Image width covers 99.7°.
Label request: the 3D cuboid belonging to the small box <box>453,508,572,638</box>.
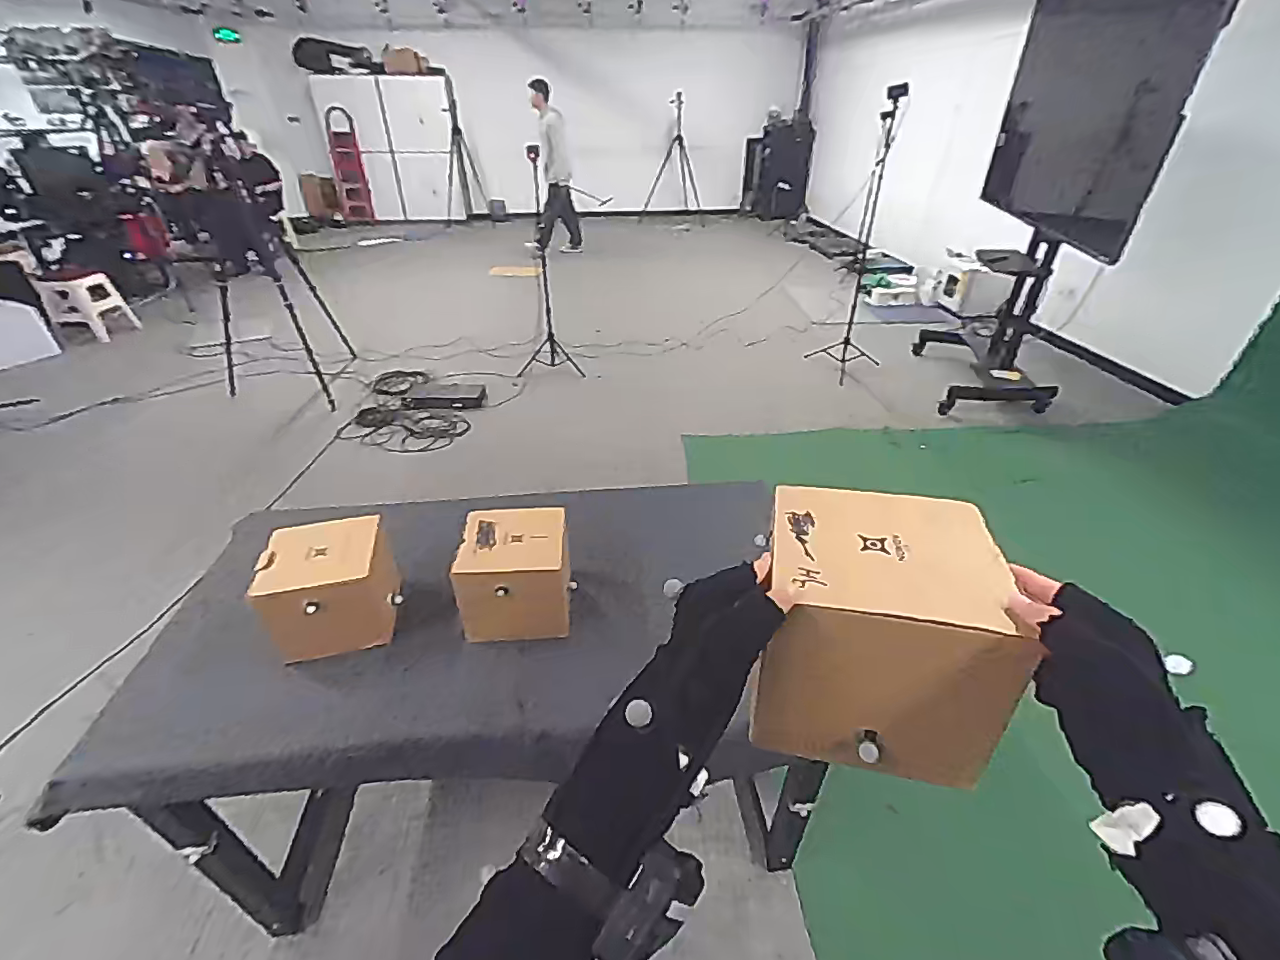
[{"bbox_3d":[-0.218,0.168,0.974,0.179,0.176,0.168,-2,35,-4],"label":"small box"}]

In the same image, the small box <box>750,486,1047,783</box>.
[{"bbox_3d":[0.198,0.127,0.470,0.179,0.176,0.168,7,30,12],"label":"small box"}]

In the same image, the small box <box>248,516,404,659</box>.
[{"bbox_3d":[-0.533,0.188,0.947,0.179,0.176,0.168,-8,36,-12],"label":"small box"}]
